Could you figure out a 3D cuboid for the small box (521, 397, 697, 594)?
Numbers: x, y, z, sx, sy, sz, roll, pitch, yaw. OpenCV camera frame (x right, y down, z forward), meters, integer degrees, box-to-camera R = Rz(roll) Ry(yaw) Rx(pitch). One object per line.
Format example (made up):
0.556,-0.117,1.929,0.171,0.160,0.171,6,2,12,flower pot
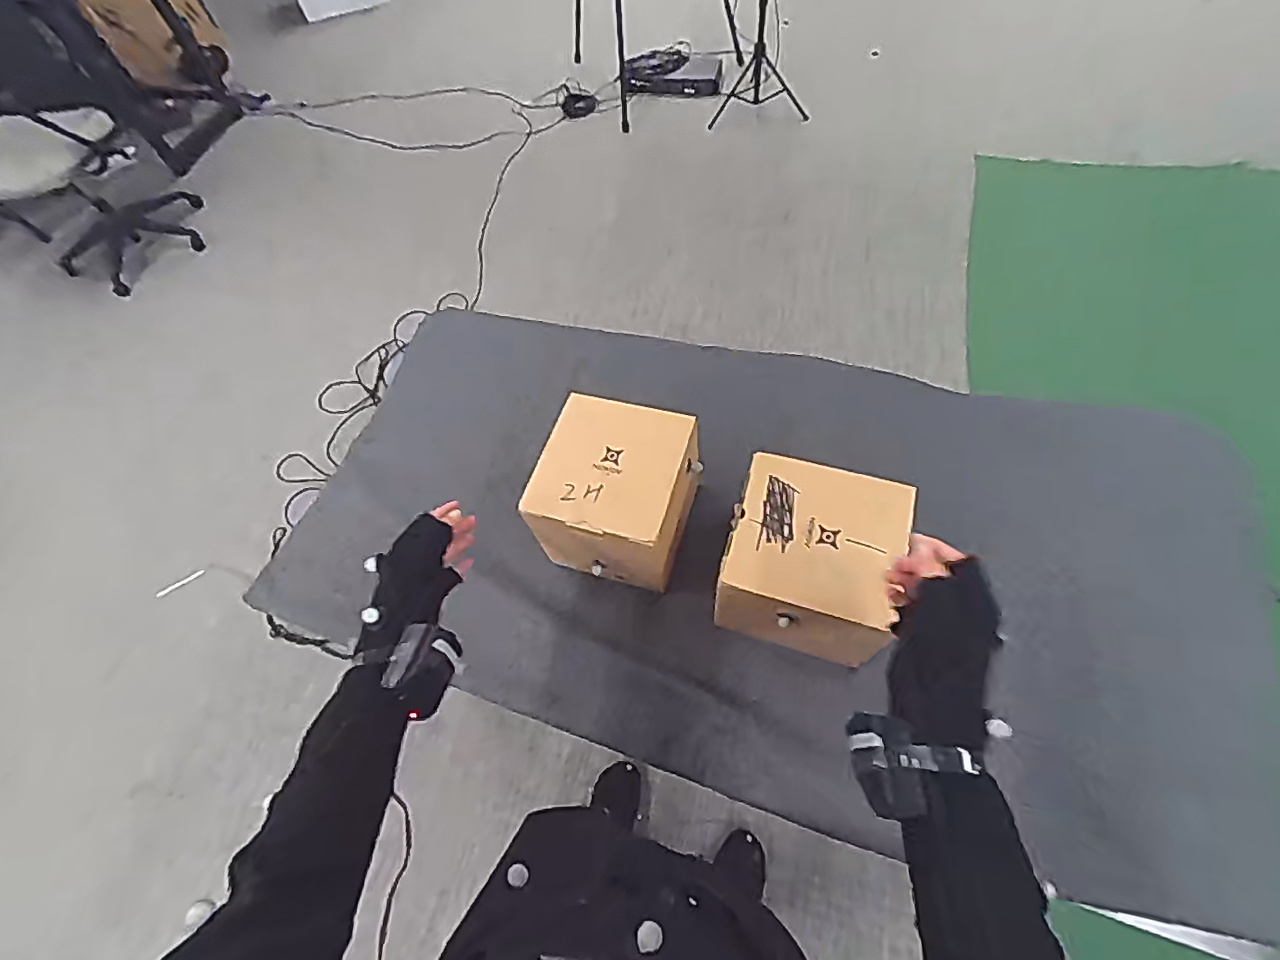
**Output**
-0.028,0.024,0.702,0.168,0.176,0.179,13,62,14,small box
